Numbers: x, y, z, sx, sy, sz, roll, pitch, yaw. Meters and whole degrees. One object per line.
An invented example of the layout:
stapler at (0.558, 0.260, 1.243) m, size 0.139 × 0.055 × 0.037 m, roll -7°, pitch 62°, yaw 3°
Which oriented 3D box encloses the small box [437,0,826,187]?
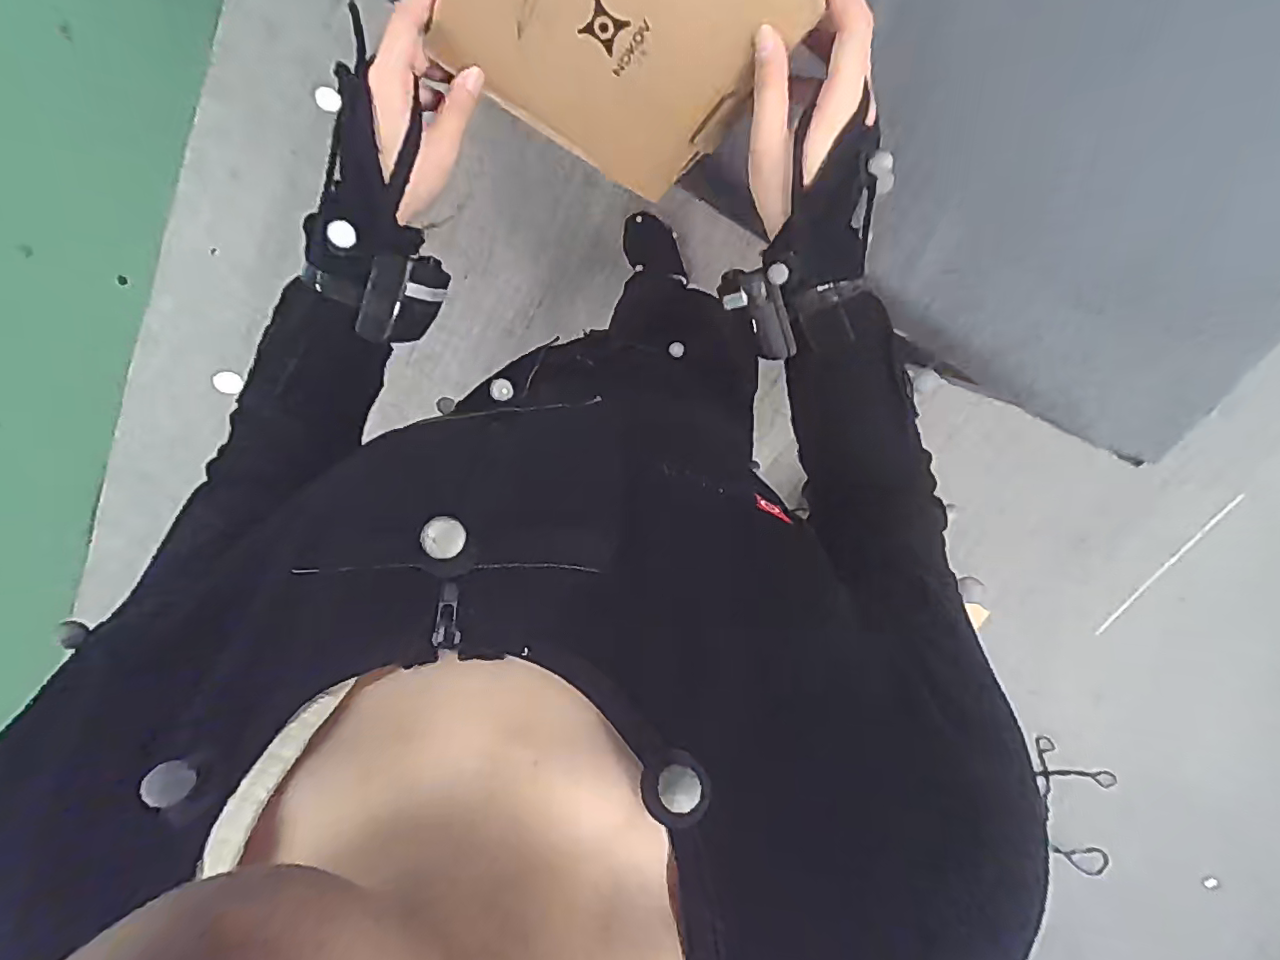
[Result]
small box at (0.000, -0.337, 0.332) m, size 0.179 × 0.168 × 0.176 m, roll 19°, pitch 67°, yaw -26°
